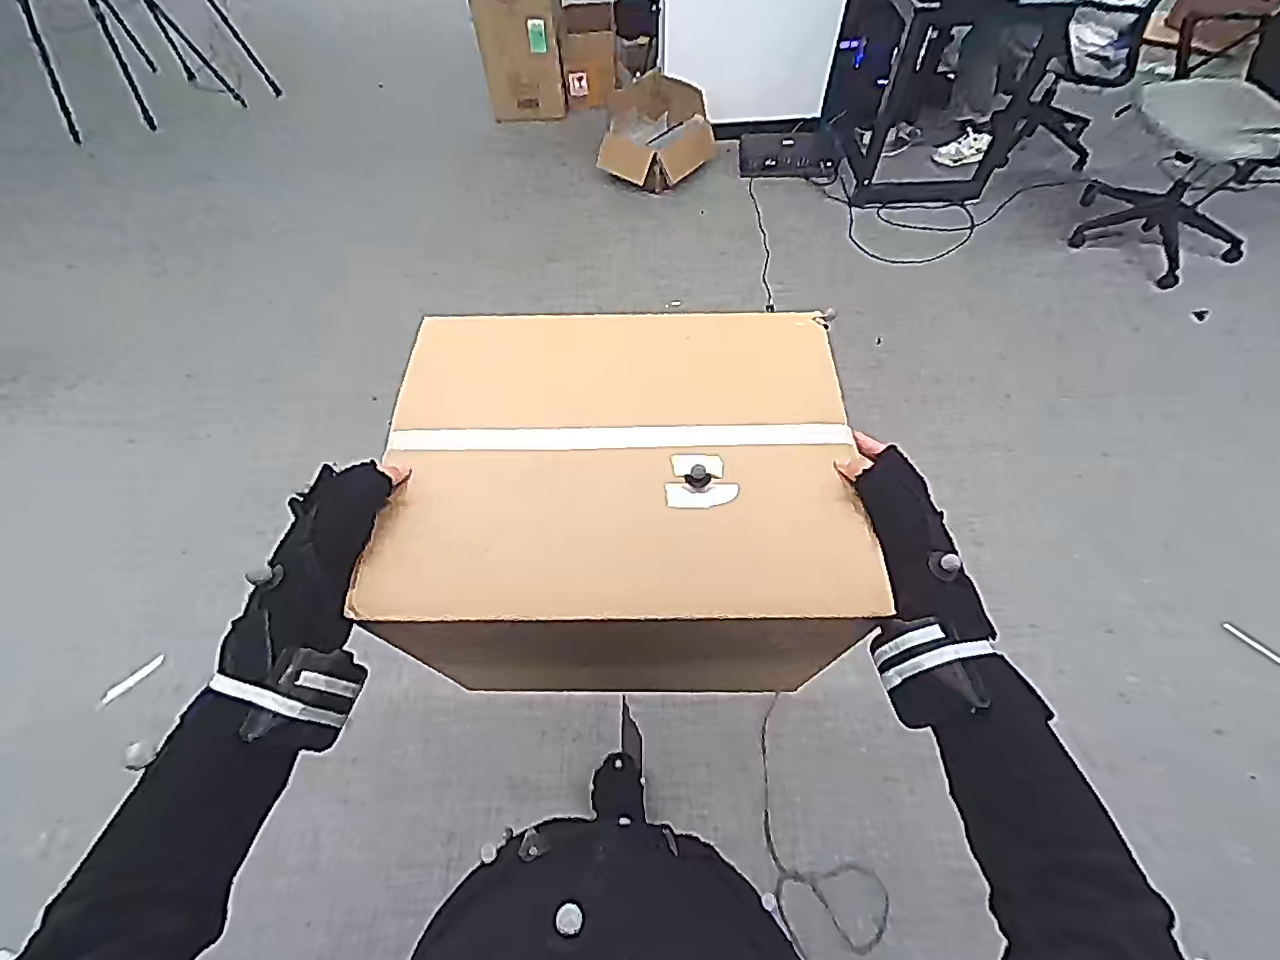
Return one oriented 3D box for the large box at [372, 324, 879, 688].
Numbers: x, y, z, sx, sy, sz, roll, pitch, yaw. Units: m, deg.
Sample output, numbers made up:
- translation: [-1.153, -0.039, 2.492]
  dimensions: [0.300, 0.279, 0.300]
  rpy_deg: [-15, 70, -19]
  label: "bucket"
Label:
- translation: [-0.013, 0.045, 0.621]
  dimensions: [0.408, 0.320, 0.320]
  rpy_deg: [0, 59, 1]
  label: "large box"
